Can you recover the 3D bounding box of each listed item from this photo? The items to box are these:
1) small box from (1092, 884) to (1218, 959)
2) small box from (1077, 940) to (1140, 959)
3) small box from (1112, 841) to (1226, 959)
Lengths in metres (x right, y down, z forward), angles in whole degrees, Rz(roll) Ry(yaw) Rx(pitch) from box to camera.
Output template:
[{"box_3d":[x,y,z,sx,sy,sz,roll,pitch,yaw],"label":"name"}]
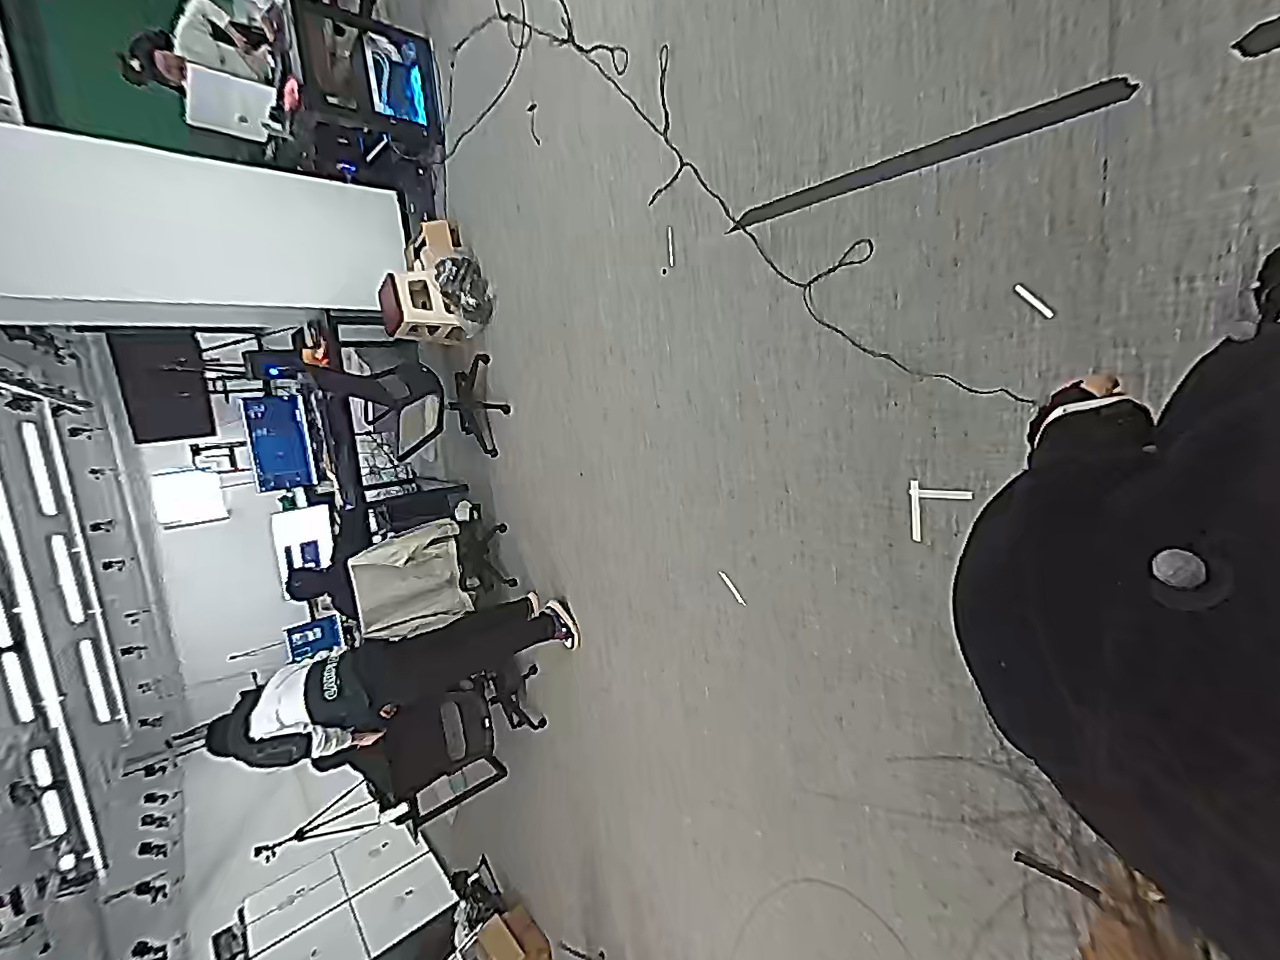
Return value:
[{"box_3d":[1.022,0.968,1.076,0.168,0.176,0.179,3,103,51],"label":"small box"},{"box_3d":[0.895,0.997,0.978,0.179,0.176,0.168,2,100,51],"label":"small box"},{"box_3d":[1.146,0.941,1.175,0.168,0.176,0.179,3,102,50],"label":"small box"}]
